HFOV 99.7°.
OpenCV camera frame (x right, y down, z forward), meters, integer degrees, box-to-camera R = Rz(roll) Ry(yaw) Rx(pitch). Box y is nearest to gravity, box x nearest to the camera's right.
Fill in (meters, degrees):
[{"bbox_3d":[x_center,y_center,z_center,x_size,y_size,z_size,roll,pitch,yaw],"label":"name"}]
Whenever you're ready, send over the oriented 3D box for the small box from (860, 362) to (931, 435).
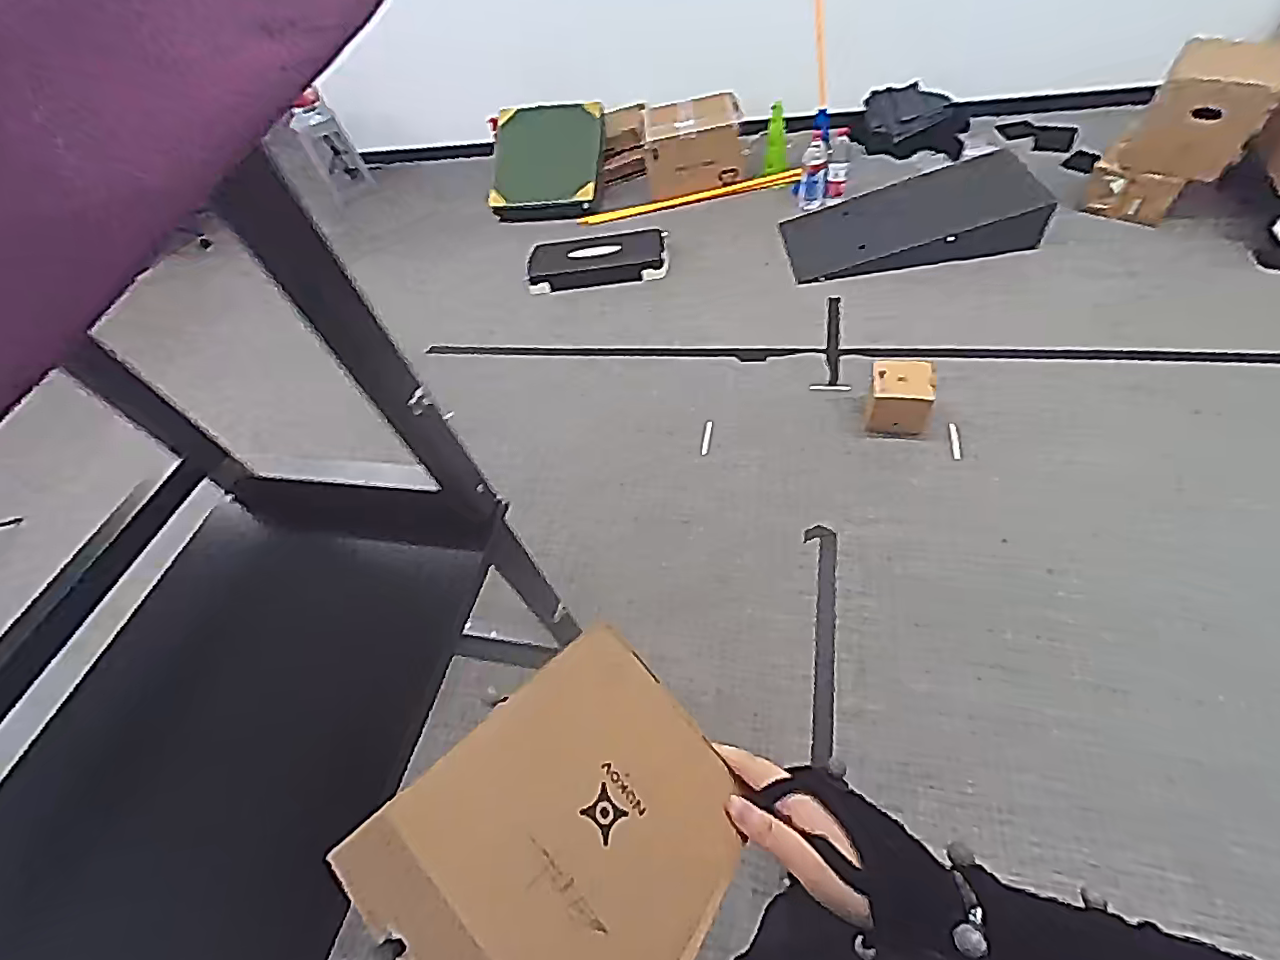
[{"bbox_3d":[0.837,-0.264,1.780,0.179,0.176,0.168,6,56,14],"label":"small box"}]
